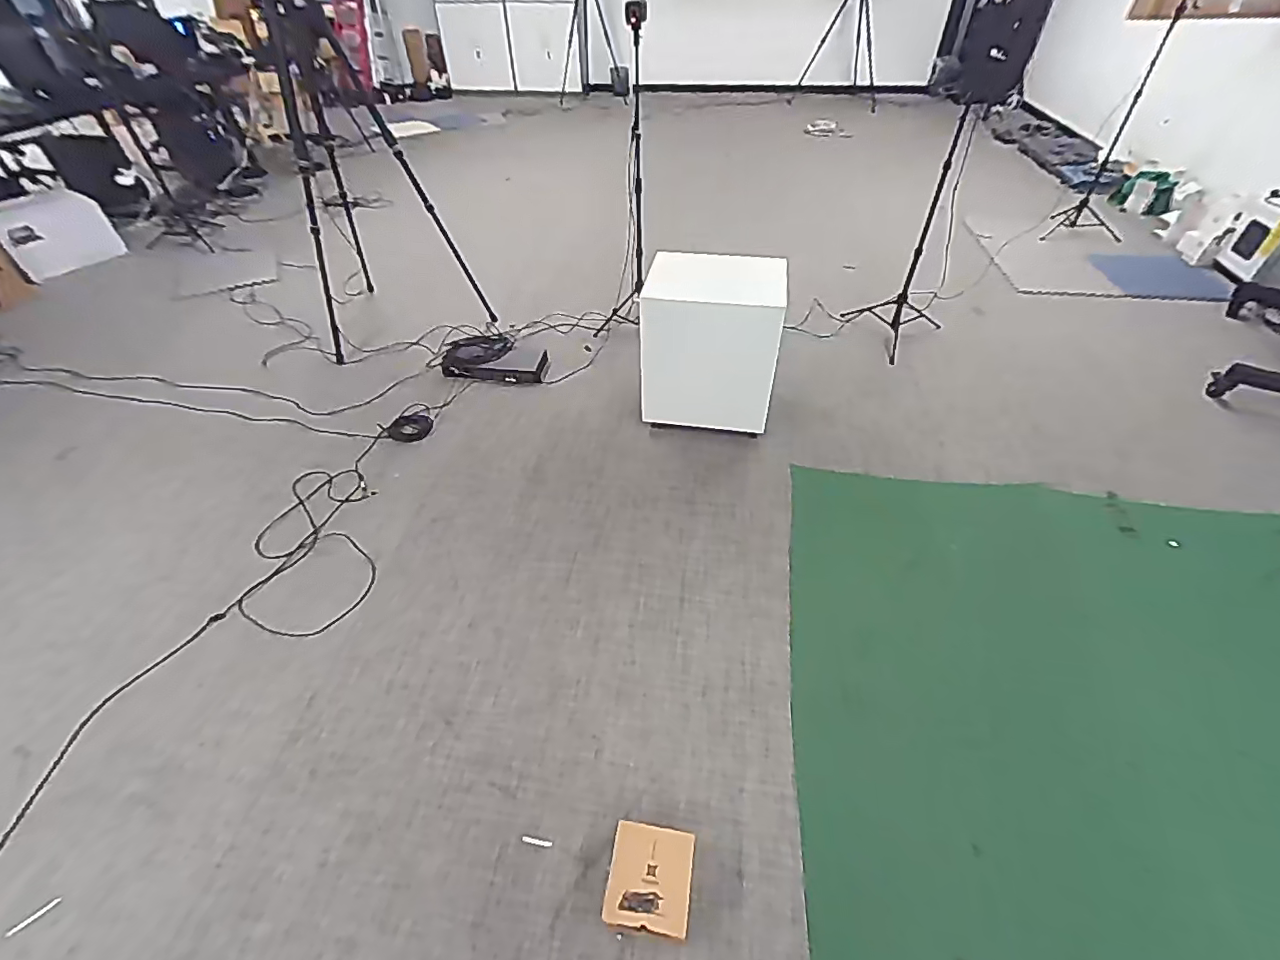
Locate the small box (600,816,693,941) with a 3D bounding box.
[{"bbox_3d":[0.019,0.843,1.141,0.168,0.176,0.179,7,45,7],"label":"small box"}]
